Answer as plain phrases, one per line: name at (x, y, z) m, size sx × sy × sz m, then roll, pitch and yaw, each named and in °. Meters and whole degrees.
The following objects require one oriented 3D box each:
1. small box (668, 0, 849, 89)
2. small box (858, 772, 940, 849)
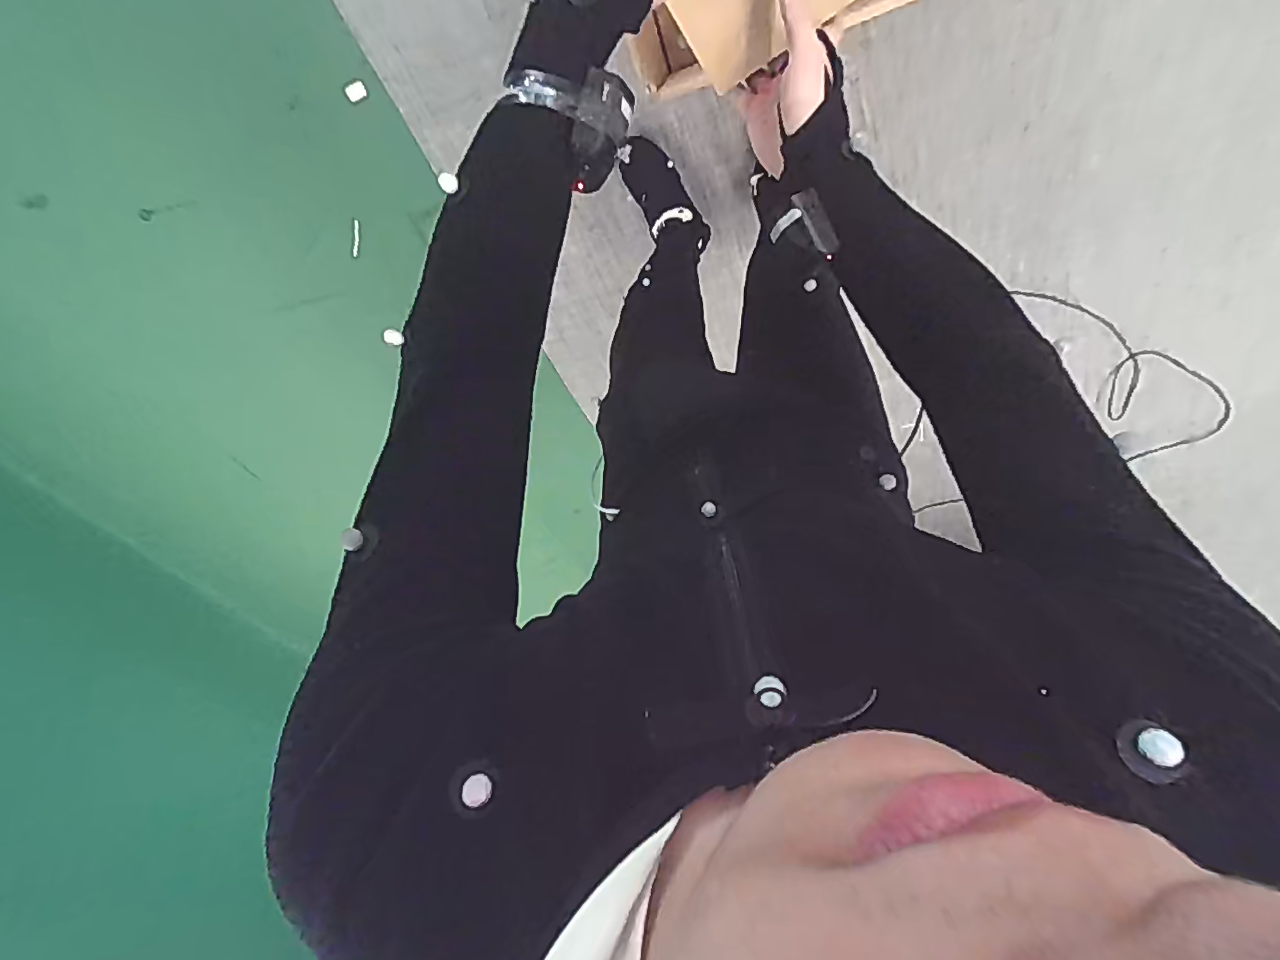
small box at (0.095, -0.500, 0.454) m, size 0.168 × 0.176 × 0.179 m, roll -16°, pitch 147°, yaw 33°
small box at (0.793, 1.019, 1.672) m, size 0.168 × 0.176 × 0.179 m, roll -28°, pitch 123°, yaw 37°
